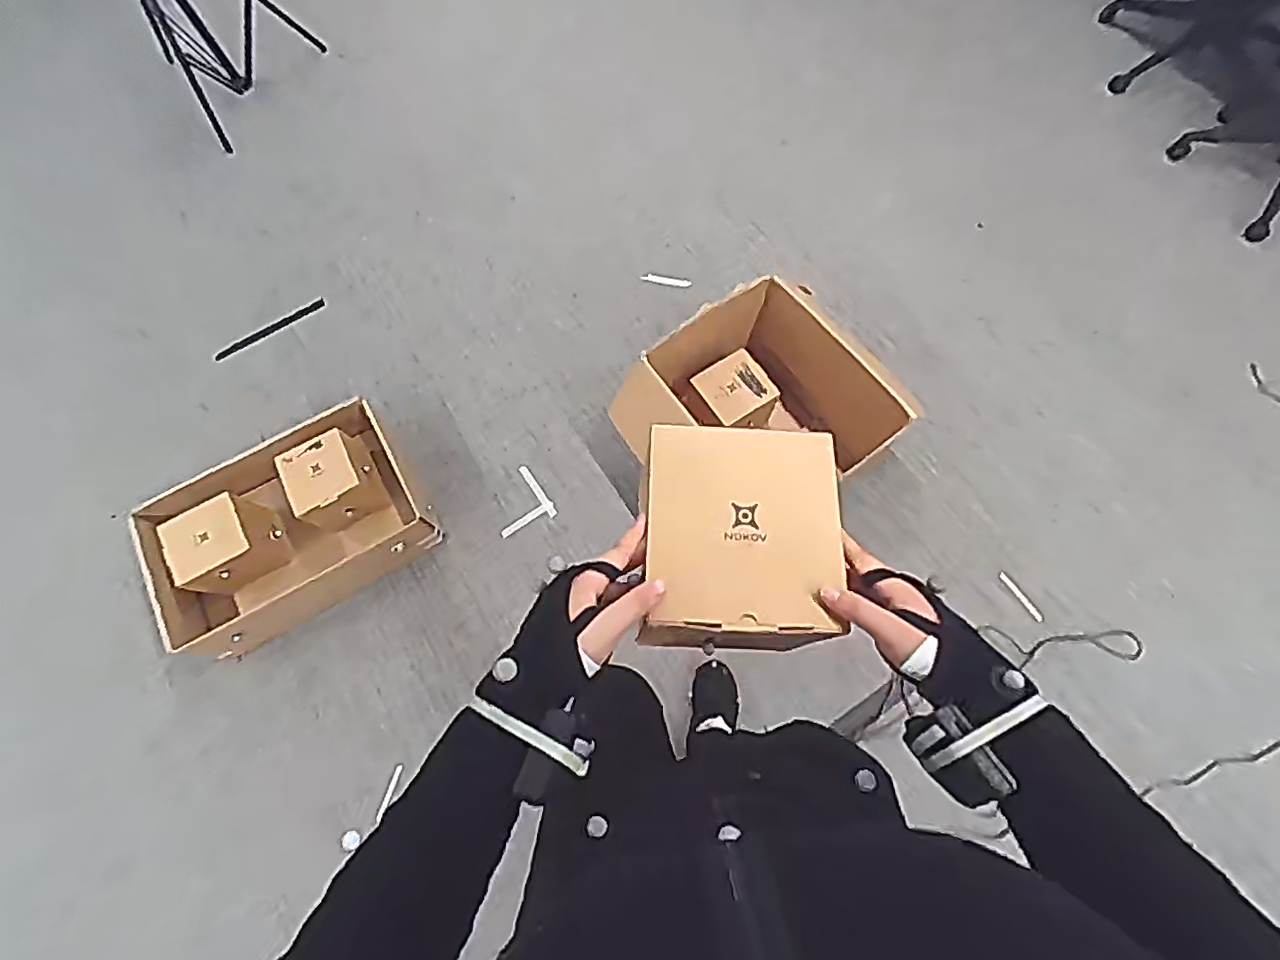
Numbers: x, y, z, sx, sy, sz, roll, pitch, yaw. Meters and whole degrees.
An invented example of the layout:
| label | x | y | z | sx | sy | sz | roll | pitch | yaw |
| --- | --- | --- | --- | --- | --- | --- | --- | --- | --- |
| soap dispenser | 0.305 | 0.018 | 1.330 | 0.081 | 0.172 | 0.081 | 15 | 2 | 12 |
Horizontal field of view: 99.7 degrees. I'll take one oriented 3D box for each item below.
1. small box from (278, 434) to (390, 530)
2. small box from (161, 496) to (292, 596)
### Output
| label | x | y | z | sx | sy | sz | roll | pitch | yaw |
| --- | --- | --- | --- | --- | --- | --- | --- | --- | --- |
| small box | -0.778 | 0.015 | 1.392 | 0.168 | 0.176 | 0.179 | -28 | 74 | -7 |
| small box | -1.019 | 0.171 | 1.344 | 0.179 | 0.176 | 0.168 | -30 | 74 | -11 |
